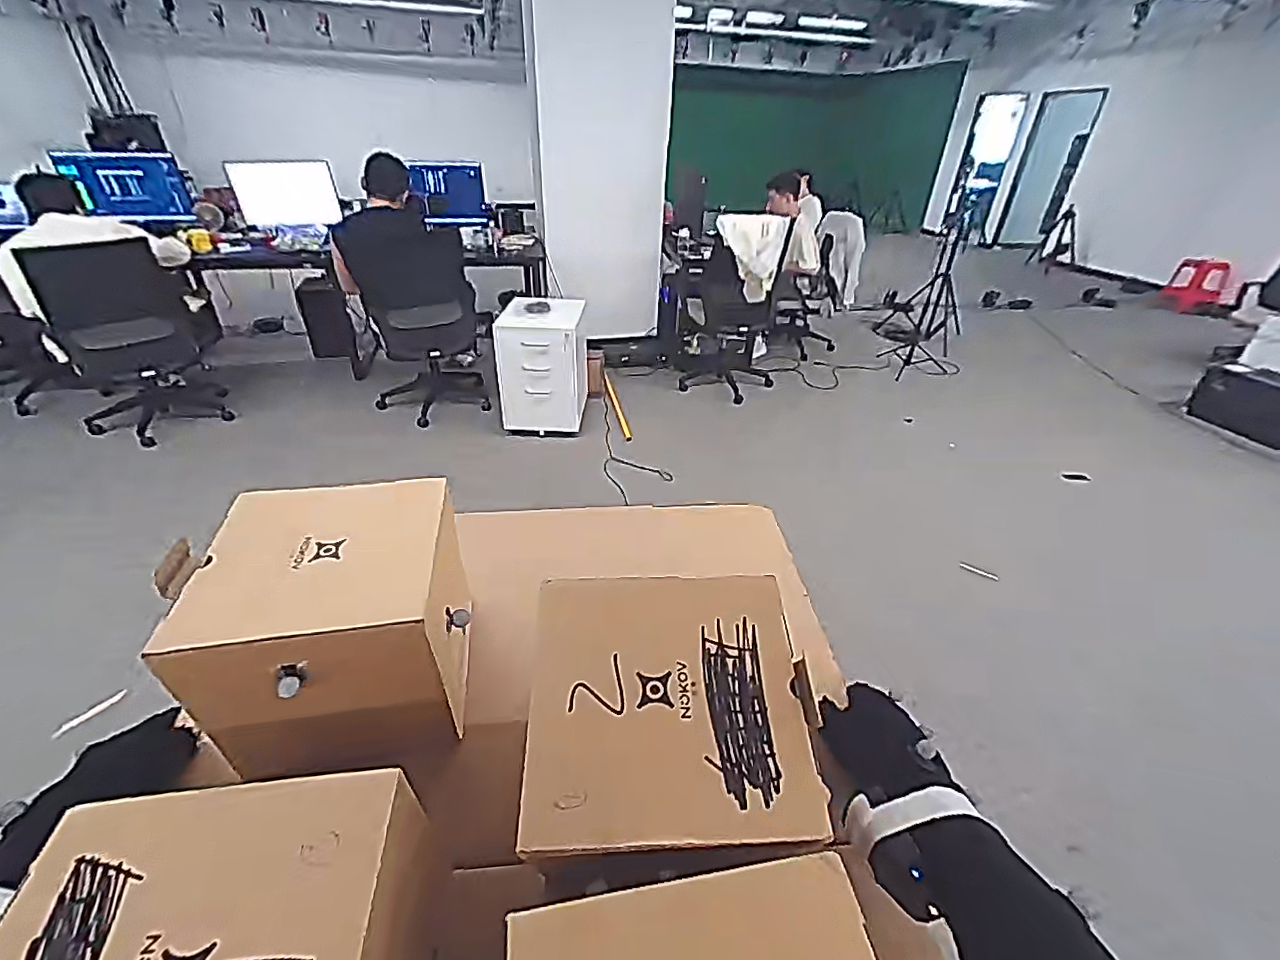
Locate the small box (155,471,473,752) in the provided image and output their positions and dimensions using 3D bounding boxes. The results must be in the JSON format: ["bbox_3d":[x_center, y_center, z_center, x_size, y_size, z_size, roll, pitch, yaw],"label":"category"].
[{"bbox_3d":[-0.251,0.113,0.479,0.179,0.176,0.168,-6,38,-9],"label":"small box"}]
